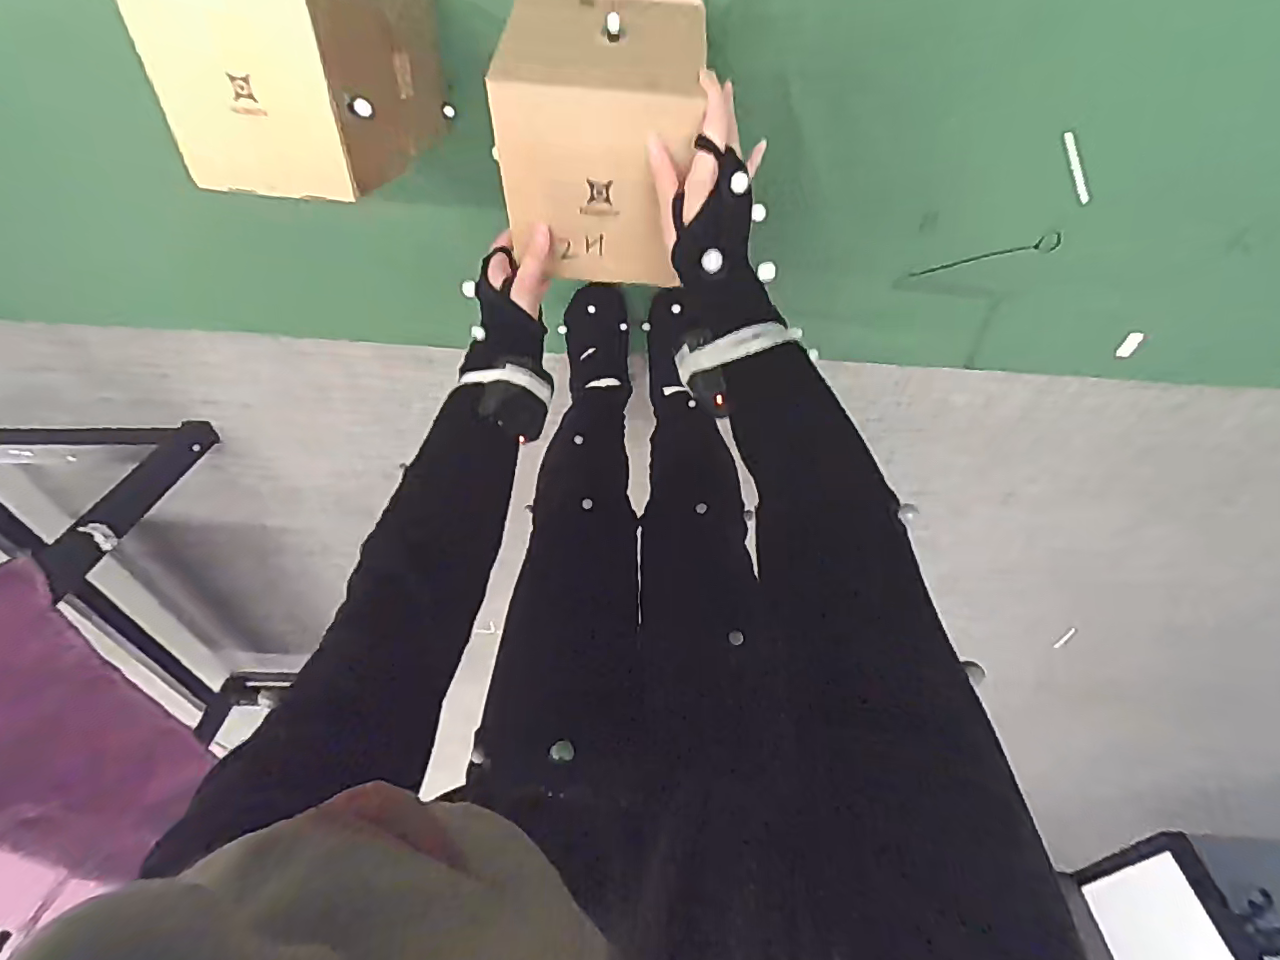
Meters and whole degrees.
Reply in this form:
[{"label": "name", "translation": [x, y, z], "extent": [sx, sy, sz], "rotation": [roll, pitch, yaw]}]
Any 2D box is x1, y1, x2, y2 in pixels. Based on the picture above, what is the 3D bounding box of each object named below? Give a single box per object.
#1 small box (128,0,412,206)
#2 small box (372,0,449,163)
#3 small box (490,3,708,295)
[{"label": "small box", "translation": [-0.363, -0.413, 0.570], "extent": [0.168, 0.176, 0.179], "rotation": [5, 132, -1]}, {"label": "small box", "translation": [-0.357, -0.523, 0.690], "extent": [0.179, 0.176, 0.168], "rotation": [6, 131, 0]}, {"label": "small box", "translation": [-0.032, -0.307, 0.511], "extent": [0.168, 0.176, 0.179], "rotation": [5, 151, -1]}]
